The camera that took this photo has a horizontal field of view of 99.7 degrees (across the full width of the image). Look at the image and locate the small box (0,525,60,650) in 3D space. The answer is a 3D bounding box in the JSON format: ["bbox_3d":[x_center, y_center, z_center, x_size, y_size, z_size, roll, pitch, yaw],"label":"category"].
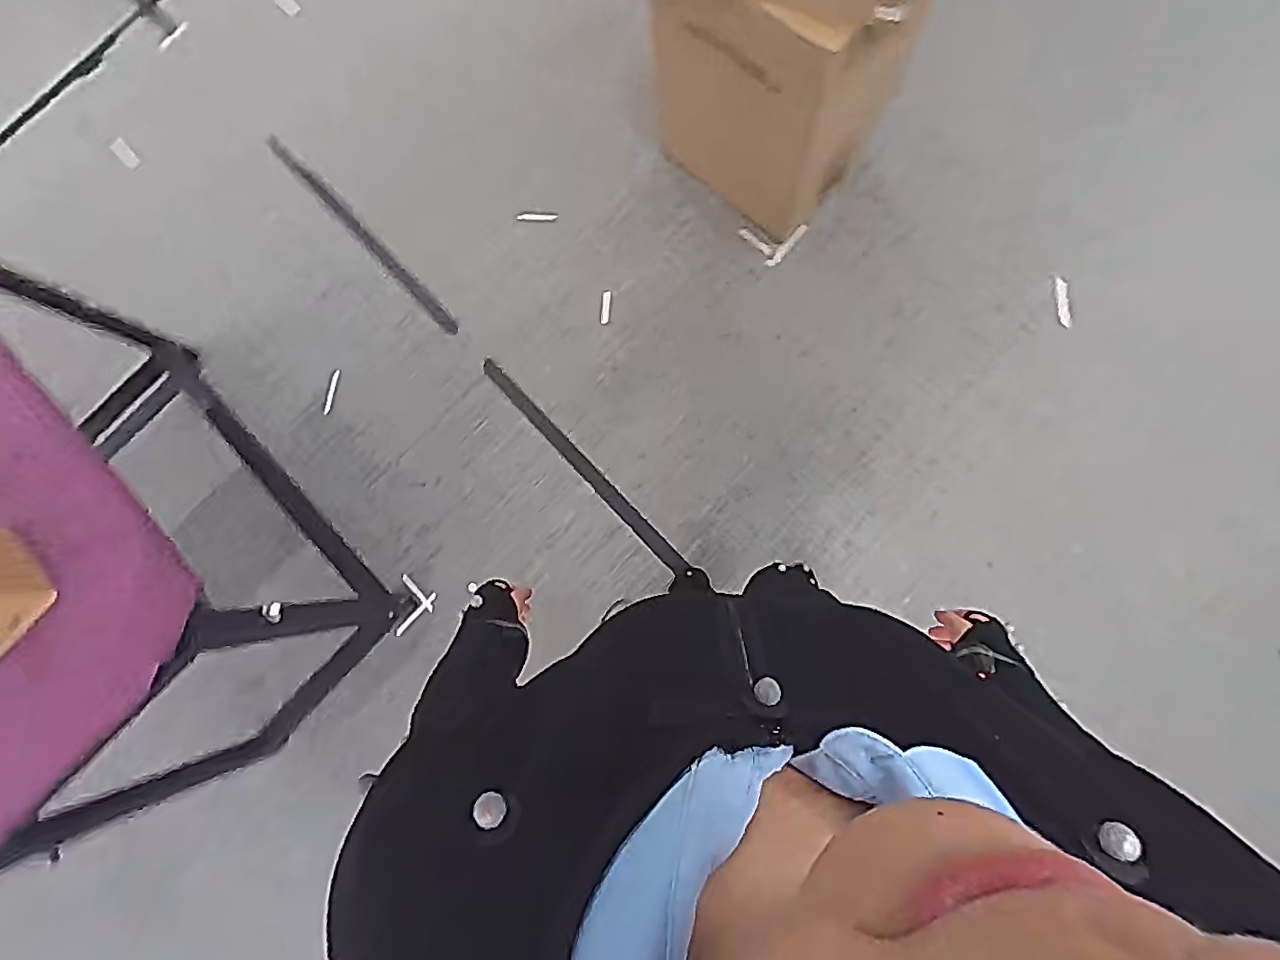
[{"bbox_3d":[-1.059,0.170,0.815,0.179,0.176,0.168,41,86,11],"label":"small box"}]
